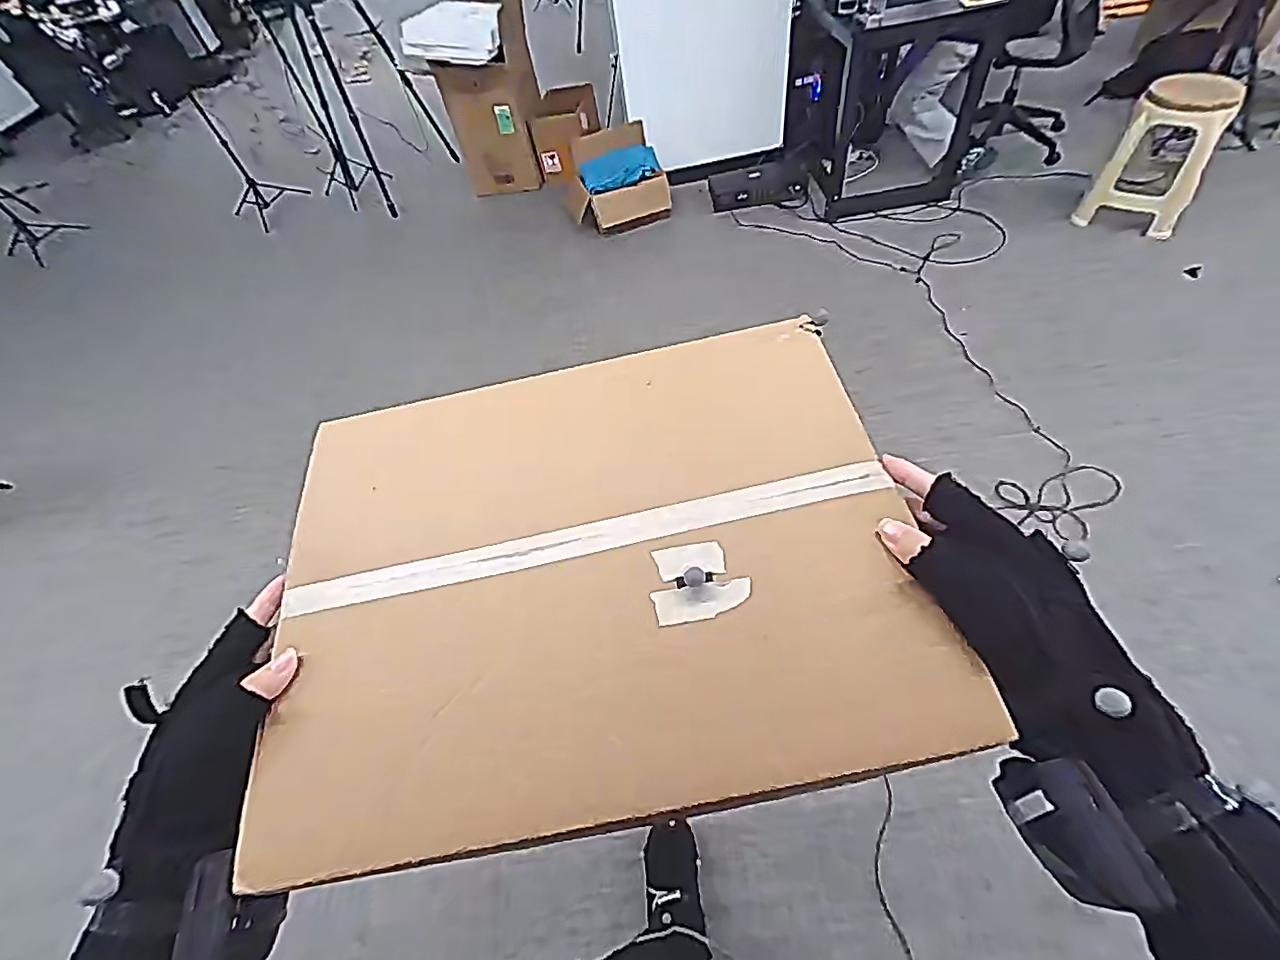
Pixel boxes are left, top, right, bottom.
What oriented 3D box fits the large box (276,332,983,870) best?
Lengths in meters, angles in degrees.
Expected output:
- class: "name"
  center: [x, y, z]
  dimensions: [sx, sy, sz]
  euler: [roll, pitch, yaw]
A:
- class: "large box"
  center: [-0.015, 0.122, 0.496]
  dimensions: [0.408, 0.320, 0.320]
  euler: [-12, 58, 1]
